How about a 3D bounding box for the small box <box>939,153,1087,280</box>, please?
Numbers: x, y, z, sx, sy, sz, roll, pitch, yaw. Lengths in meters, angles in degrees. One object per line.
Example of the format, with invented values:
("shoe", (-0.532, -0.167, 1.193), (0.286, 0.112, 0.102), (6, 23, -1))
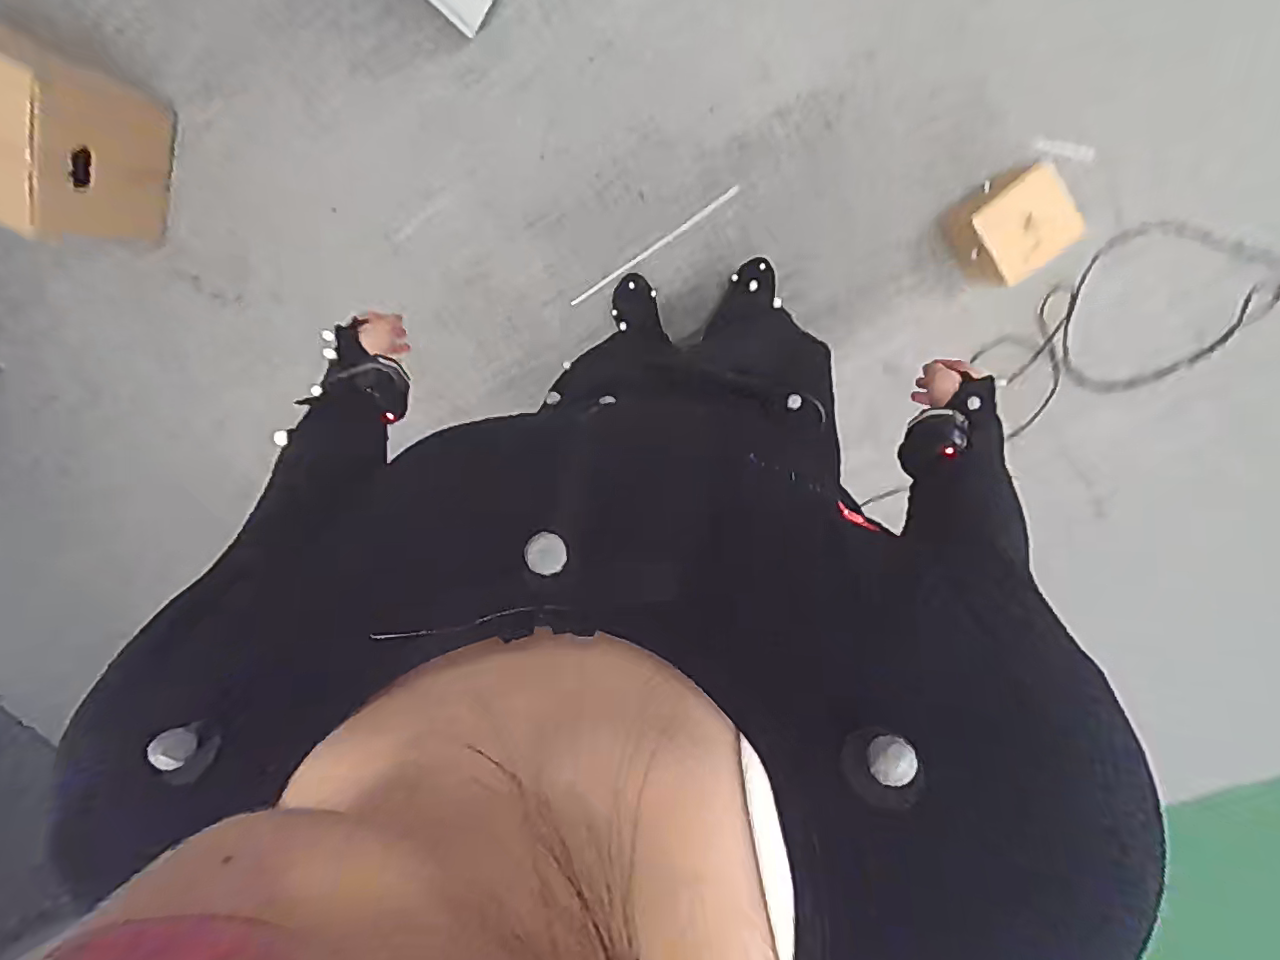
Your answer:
("small box", (0.783, -0.553, 1.156), (0.168, 0.176, 0.179), (-39, 106, 18))
